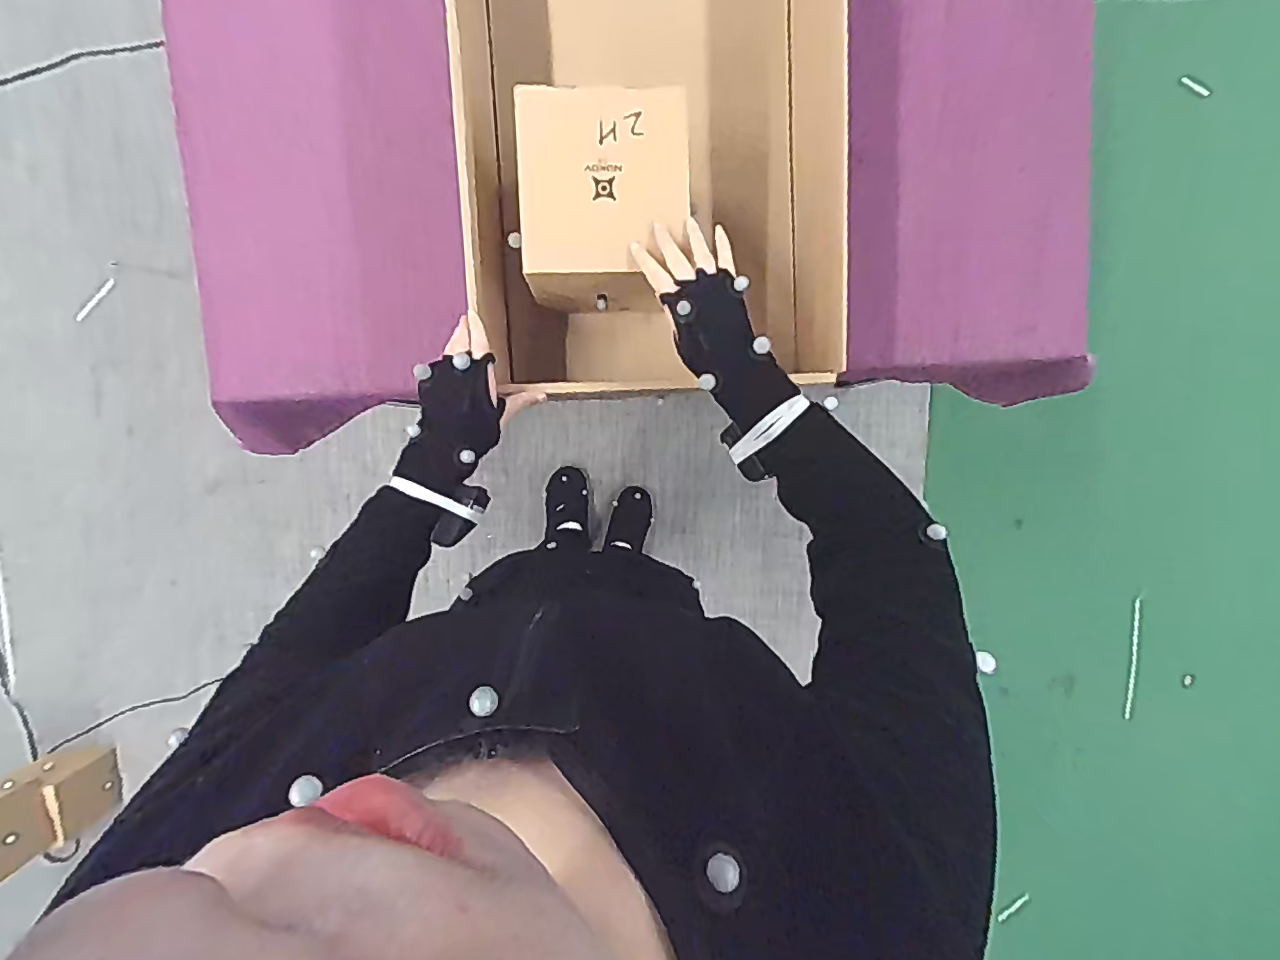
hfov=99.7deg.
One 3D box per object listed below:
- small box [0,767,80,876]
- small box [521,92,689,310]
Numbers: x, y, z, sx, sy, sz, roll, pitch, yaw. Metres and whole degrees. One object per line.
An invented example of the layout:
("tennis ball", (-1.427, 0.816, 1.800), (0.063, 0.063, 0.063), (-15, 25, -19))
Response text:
("small box", (-1.535, 0.826, 1.306), (0.168, 0.176, 0.179), (-13, 97, 1))
("small box", (-0.036, -0.295, 0.610), (0.168, 0.176, 0.179), (-1, 94, -3))
